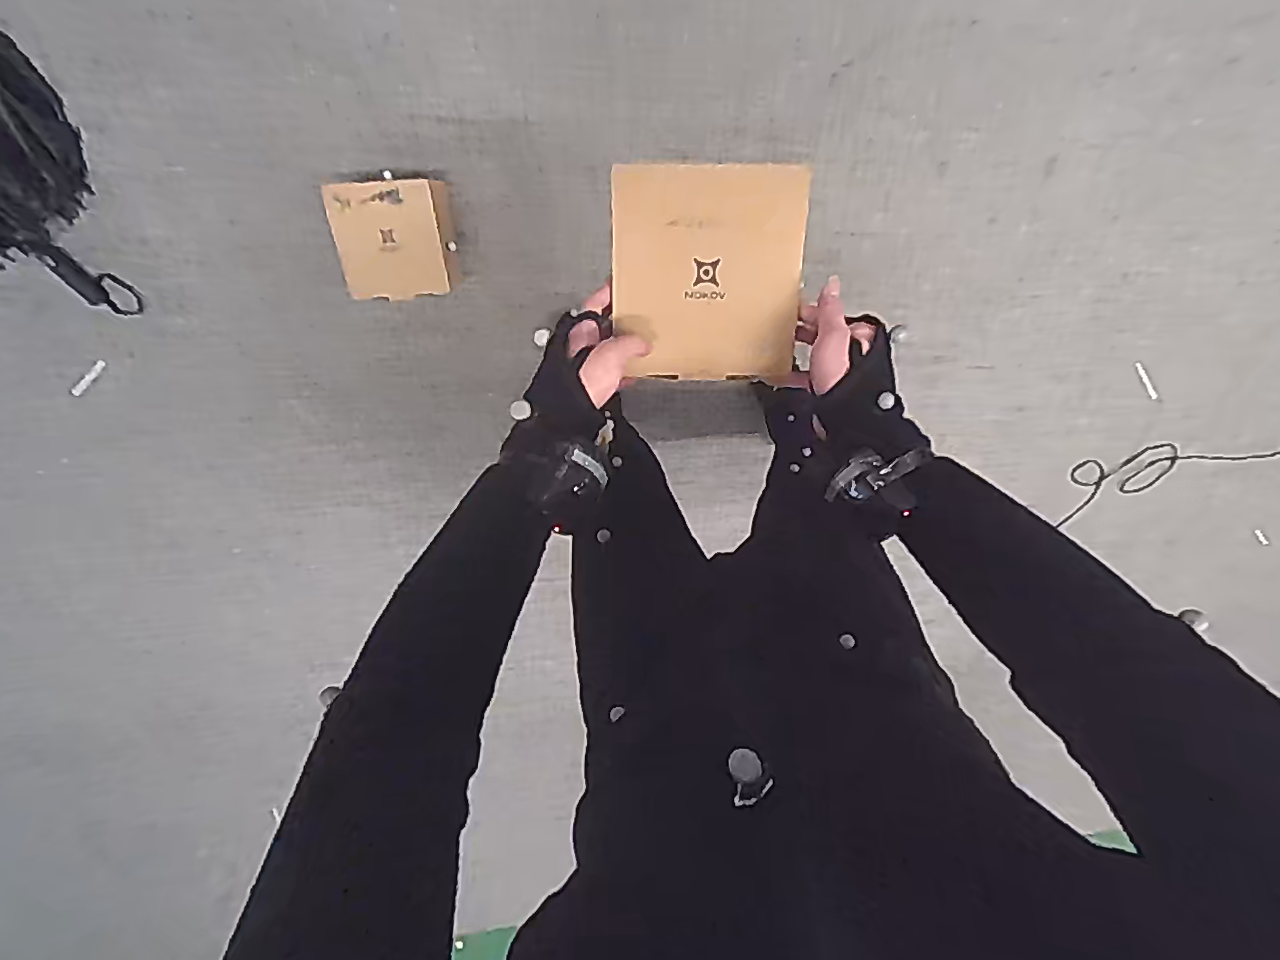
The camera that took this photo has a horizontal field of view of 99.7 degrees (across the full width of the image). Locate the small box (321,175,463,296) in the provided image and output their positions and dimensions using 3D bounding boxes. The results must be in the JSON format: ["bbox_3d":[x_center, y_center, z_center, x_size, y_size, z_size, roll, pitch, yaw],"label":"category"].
[{"bbox_3d":[-0.420,-0.435,0.953,0.168,0.176,0.179,-7,119,-5],"label":"small box"}]
